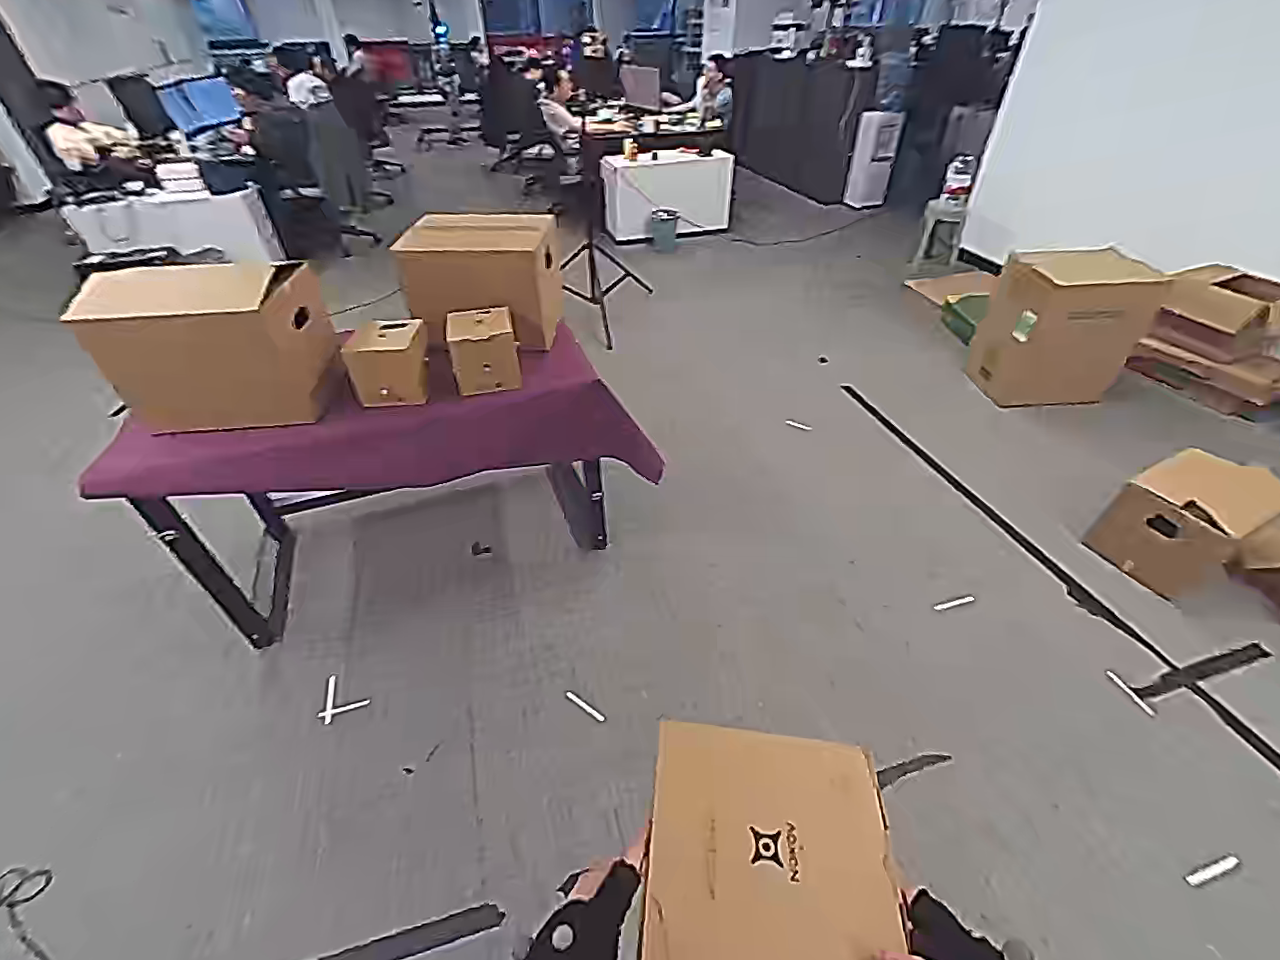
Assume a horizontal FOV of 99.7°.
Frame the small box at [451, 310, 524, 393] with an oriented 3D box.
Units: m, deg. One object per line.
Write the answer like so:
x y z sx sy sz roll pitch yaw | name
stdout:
-0.422 -0.352 1.505 0.168 0.176 0.179 -10 41 -11 | small box
